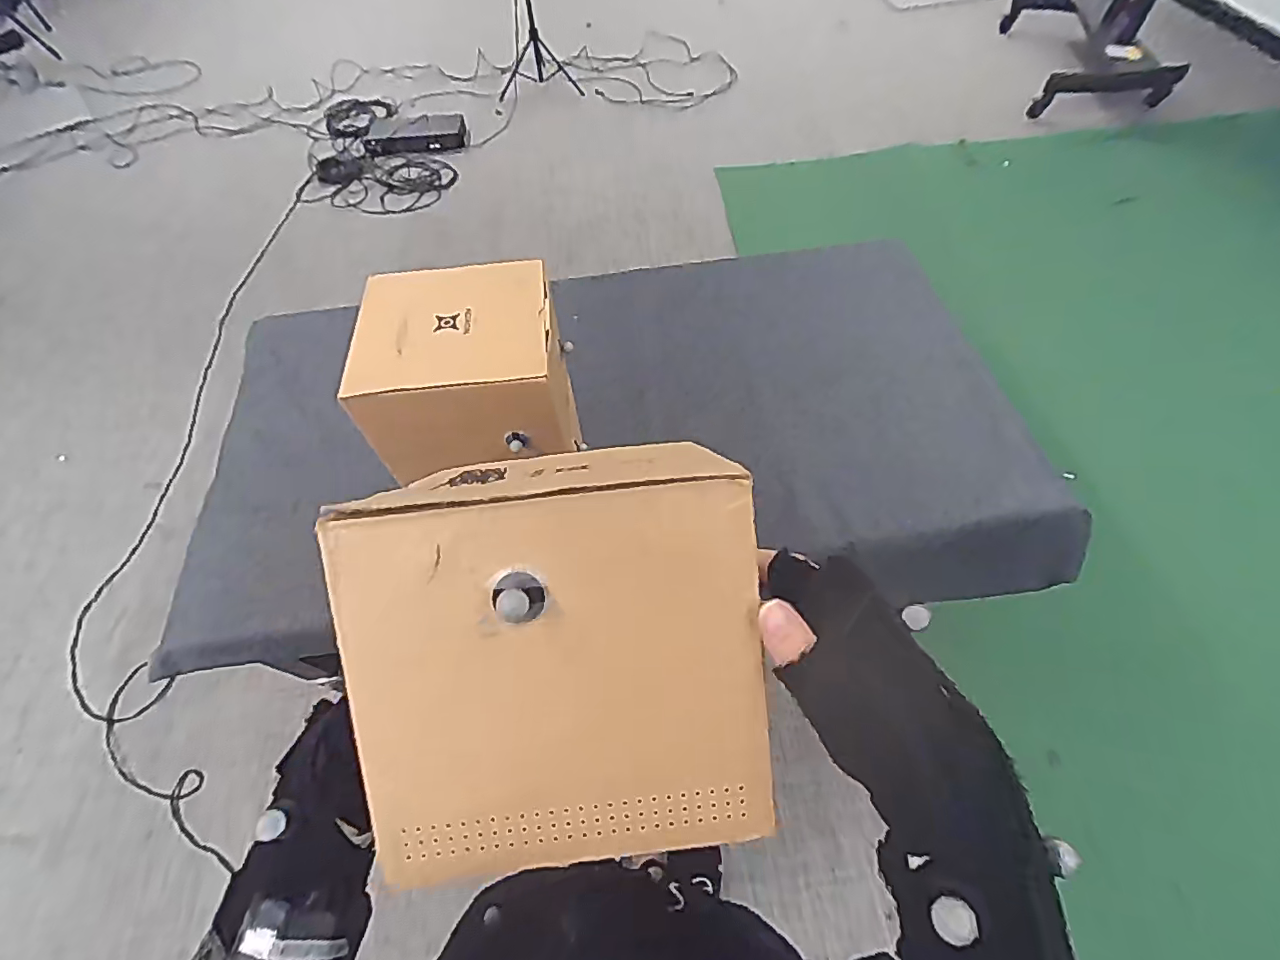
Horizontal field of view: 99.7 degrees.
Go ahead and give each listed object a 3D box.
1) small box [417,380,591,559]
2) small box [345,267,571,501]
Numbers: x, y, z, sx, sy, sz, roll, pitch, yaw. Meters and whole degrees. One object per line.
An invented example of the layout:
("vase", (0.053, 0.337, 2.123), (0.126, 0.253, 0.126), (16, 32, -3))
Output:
("small box", (-0.164, -0.008, 0.705), (0.179, 0.176, 0.168), (-6, 57, -2))
("small box", (-0.168, -0.094, 0.567), (0.179, 0.176, 0.168), (-7, 55, -2))
